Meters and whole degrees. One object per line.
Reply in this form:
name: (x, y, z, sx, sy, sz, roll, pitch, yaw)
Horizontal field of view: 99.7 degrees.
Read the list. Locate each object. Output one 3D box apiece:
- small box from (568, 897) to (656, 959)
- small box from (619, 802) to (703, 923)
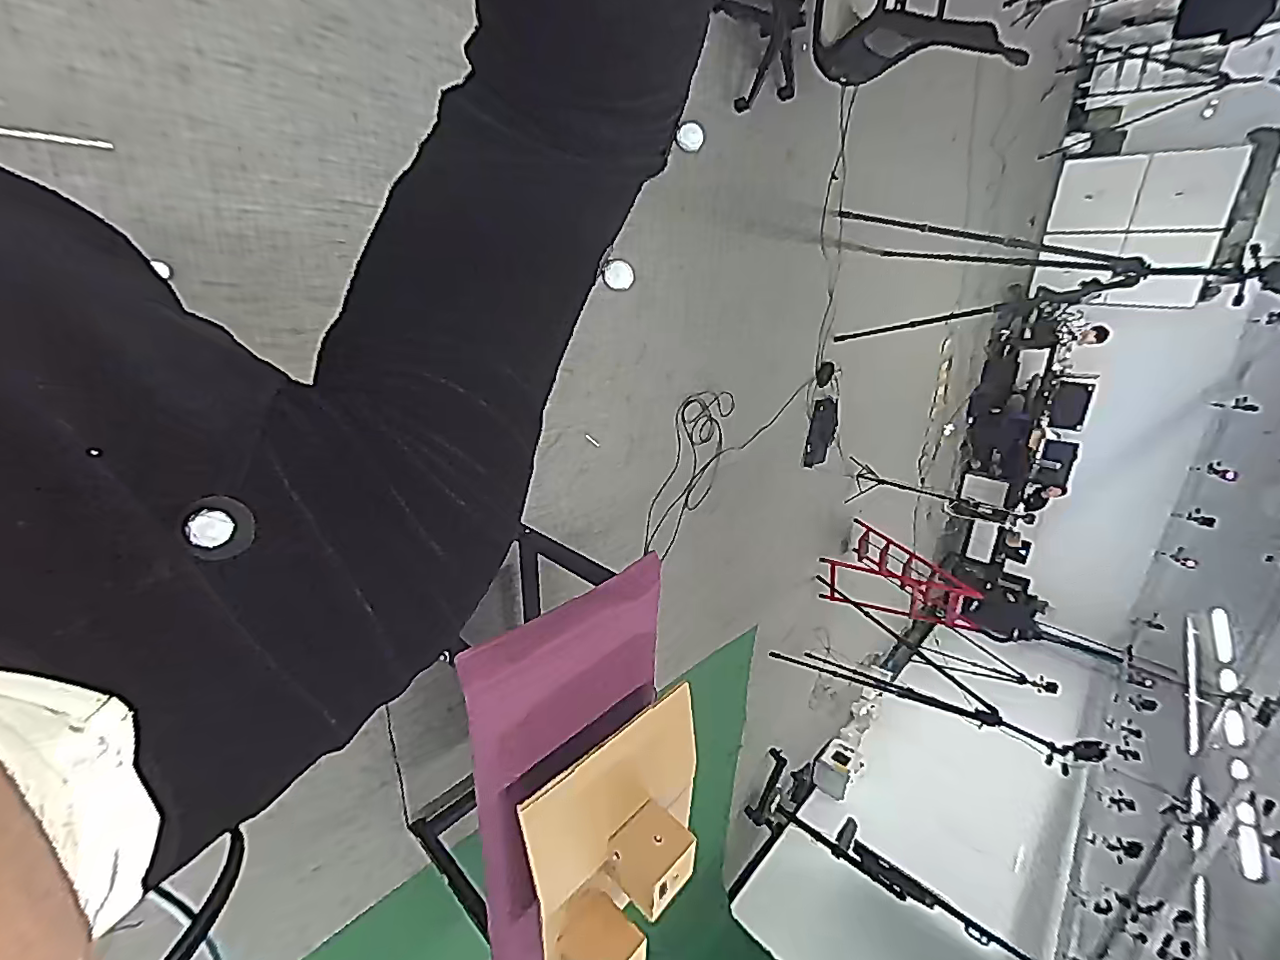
small box: (-0.077, 1.304, 1.472, 0.179, 0.176, 0.168, -22, 122, -41)
small box: (0.055, 1.059, 1.511, 0.179, 0.176, 0.168, -23, 124, -43)
